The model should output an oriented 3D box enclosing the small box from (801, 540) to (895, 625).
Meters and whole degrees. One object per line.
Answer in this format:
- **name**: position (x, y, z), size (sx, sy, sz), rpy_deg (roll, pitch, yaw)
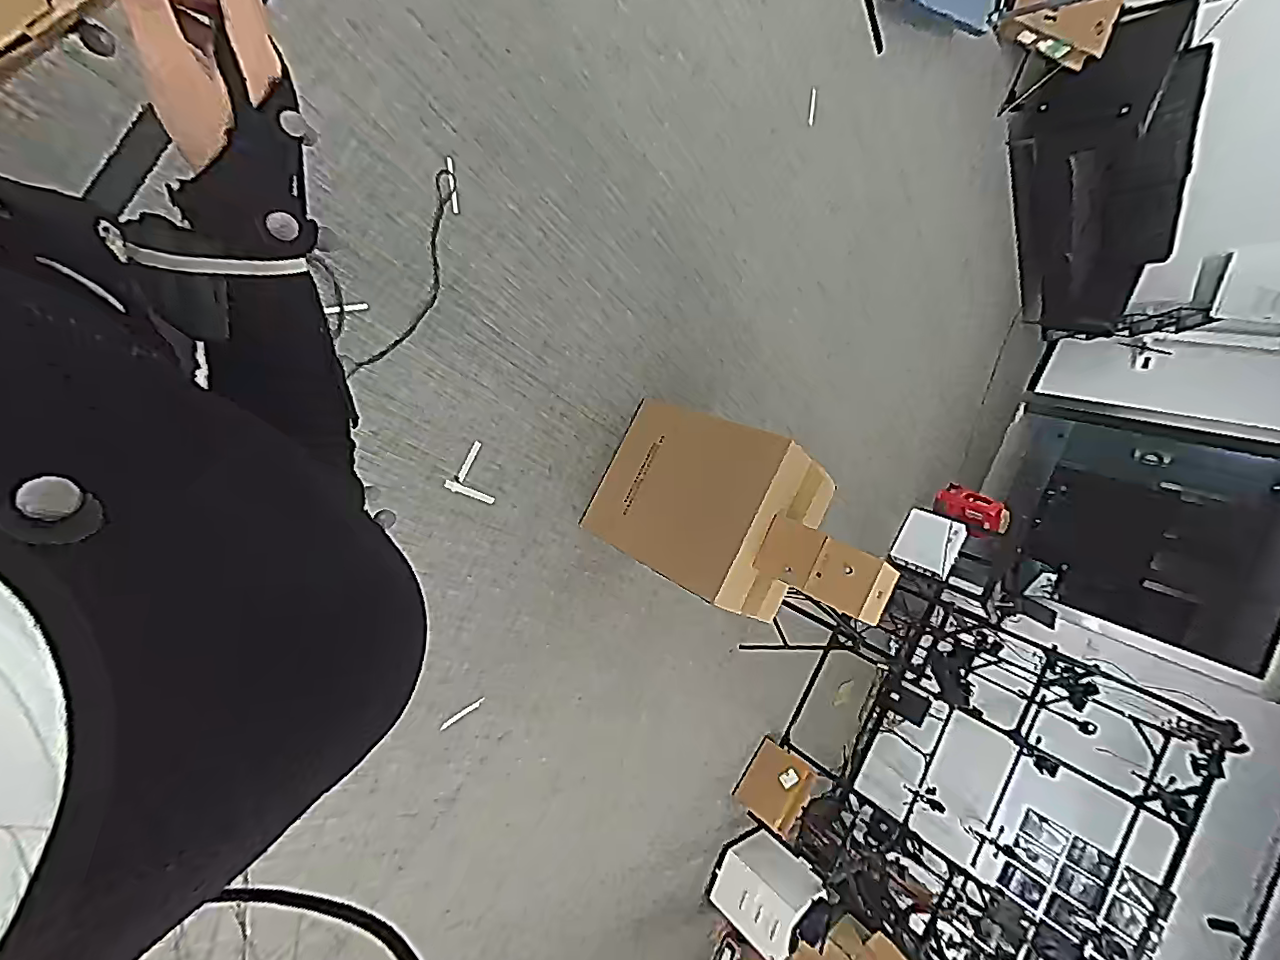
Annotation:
- **small box**: position (0.571, 0.280, 1.492), size (0.179, 0.176, 0.168), rpy_deg (28, 87, -50)
